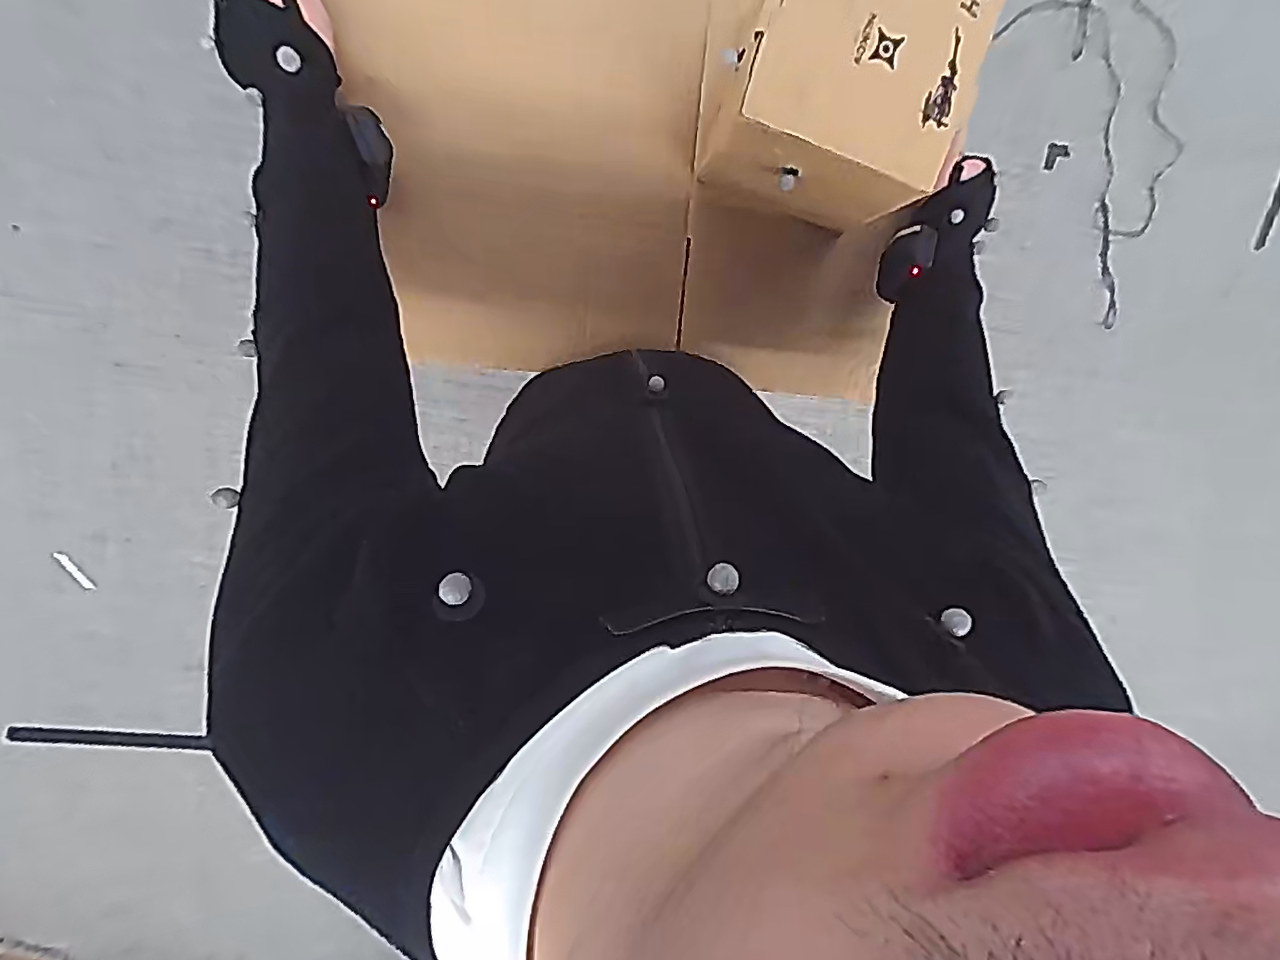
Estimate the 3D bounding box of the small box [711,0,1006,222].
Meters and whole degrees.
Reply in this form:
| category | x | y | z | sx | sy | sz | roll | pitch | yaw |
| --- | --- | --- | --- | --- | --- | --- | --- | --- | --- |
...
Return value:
| category | x | y | z | sx | sy | sz | roll | pitch | yaw |
| --- | --- | --- | --- | --- | --- | --- | --- | --- | --- |
| small box | 0.180 | -0.362 | 0.499 | 0.179 | 0.176 | 0.168 | 16 | 102 | -8 |
